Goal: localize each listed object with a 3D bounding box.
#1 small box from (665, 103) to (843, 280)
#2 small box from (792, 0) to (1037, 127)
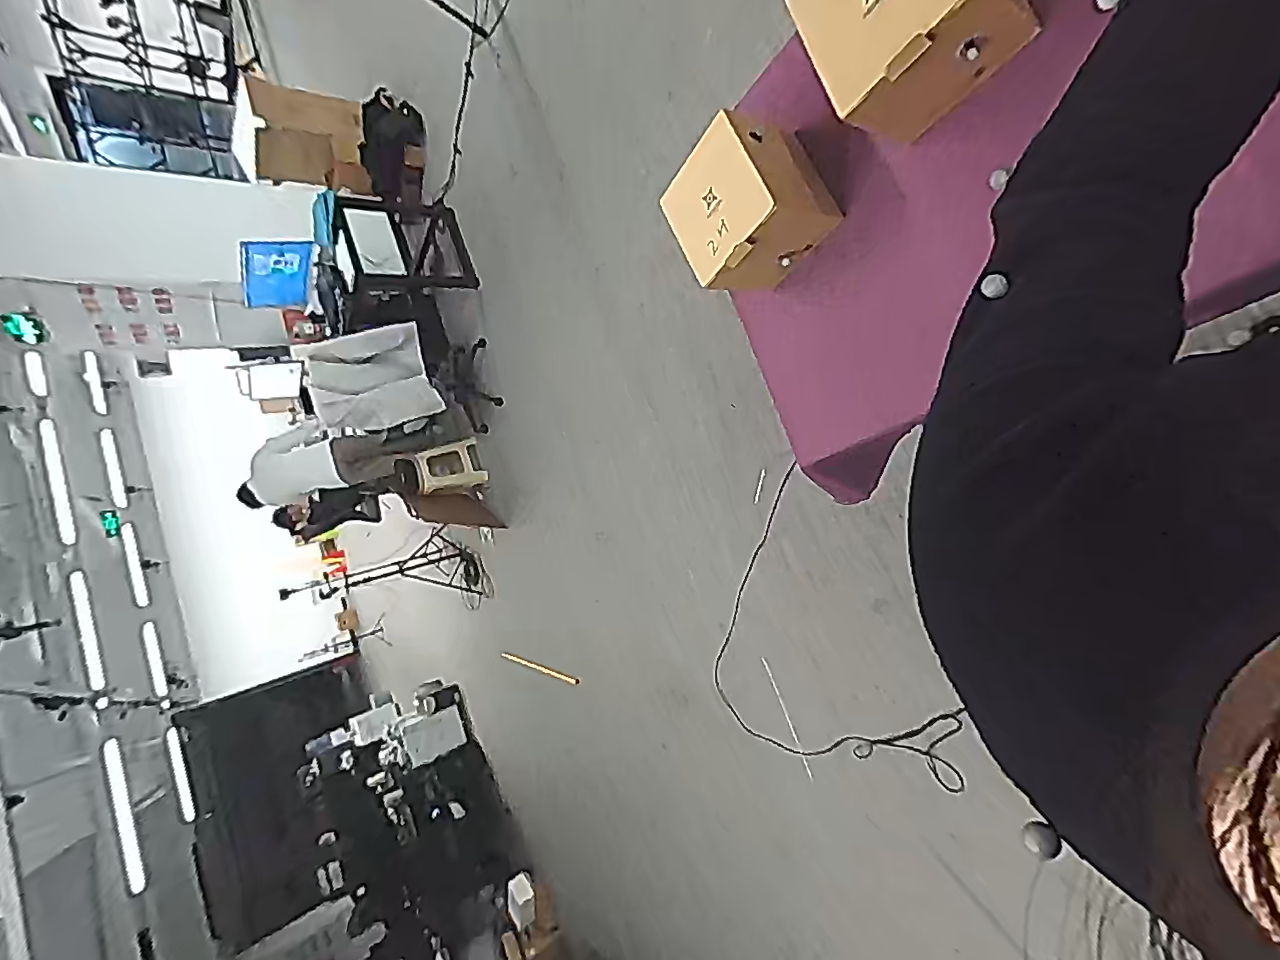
[{"bbox_3d":[0.175,-0.429,0.839,0.168,0.176,0.179,-38,71,51],"label":"small box"},{"bbox_3d":[0.314,-0.544,0.622,0.168,0.176,0.179,-29,78,51],"label":"small box"}]
